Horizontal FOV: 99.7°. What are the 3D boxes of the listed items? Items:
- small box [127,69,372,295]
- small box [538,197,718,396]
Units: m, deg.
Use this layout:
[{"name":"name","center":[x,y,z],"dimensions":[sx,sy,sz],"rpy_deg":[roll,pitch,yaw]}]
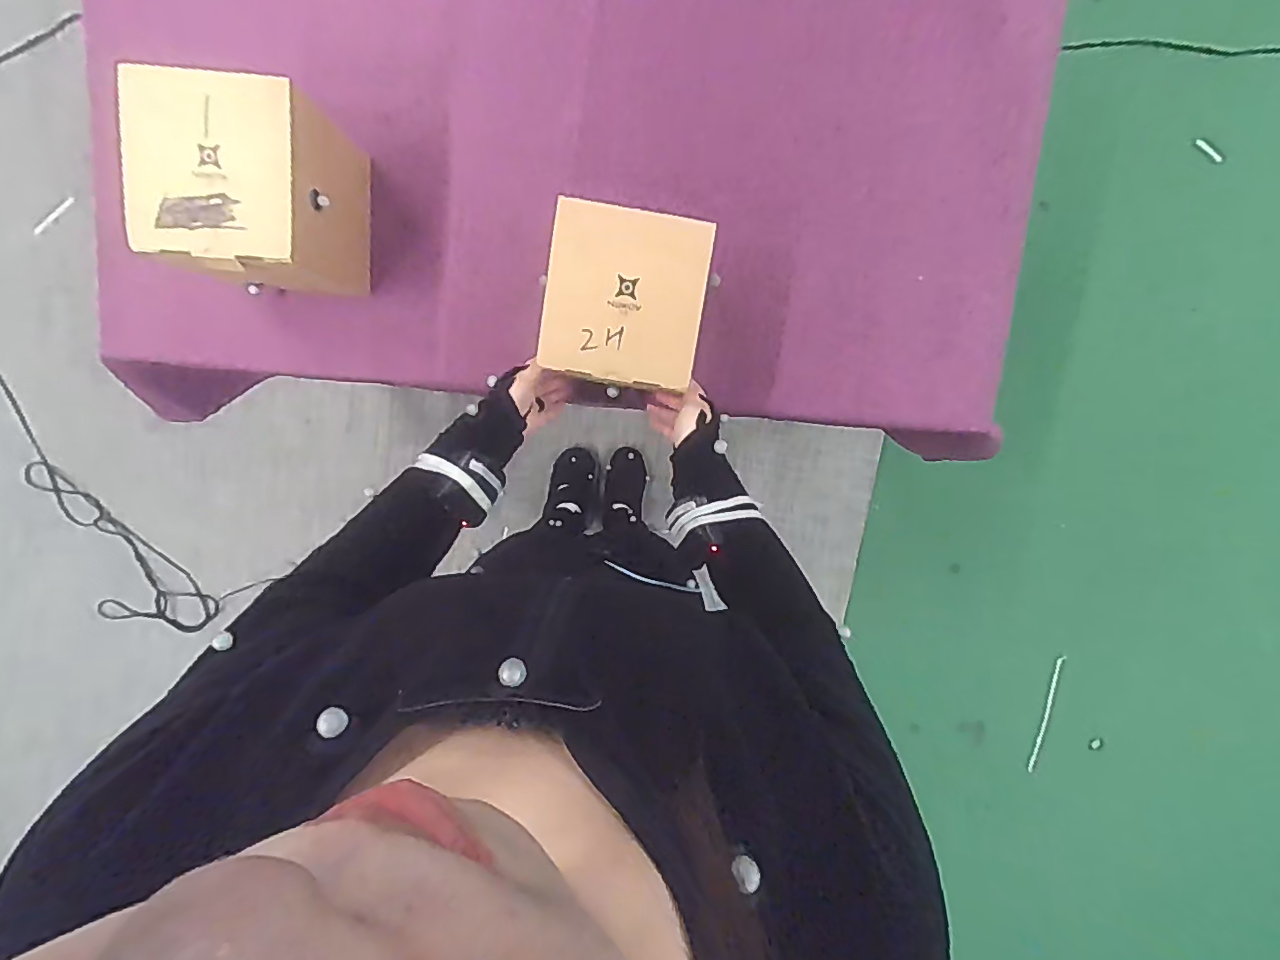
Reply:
[{"name":"small box","center":[-0.427,-0.320,0.619],"dimensions":[0.168,0.176,0.179],"rpy_deg":[4,97,-2]},{"name":"small box","center":[-0.015,-0.201,0.641],"dimensions":[0.168,0.176,0.179],"rpy_deg":[10,98,-2]}]
